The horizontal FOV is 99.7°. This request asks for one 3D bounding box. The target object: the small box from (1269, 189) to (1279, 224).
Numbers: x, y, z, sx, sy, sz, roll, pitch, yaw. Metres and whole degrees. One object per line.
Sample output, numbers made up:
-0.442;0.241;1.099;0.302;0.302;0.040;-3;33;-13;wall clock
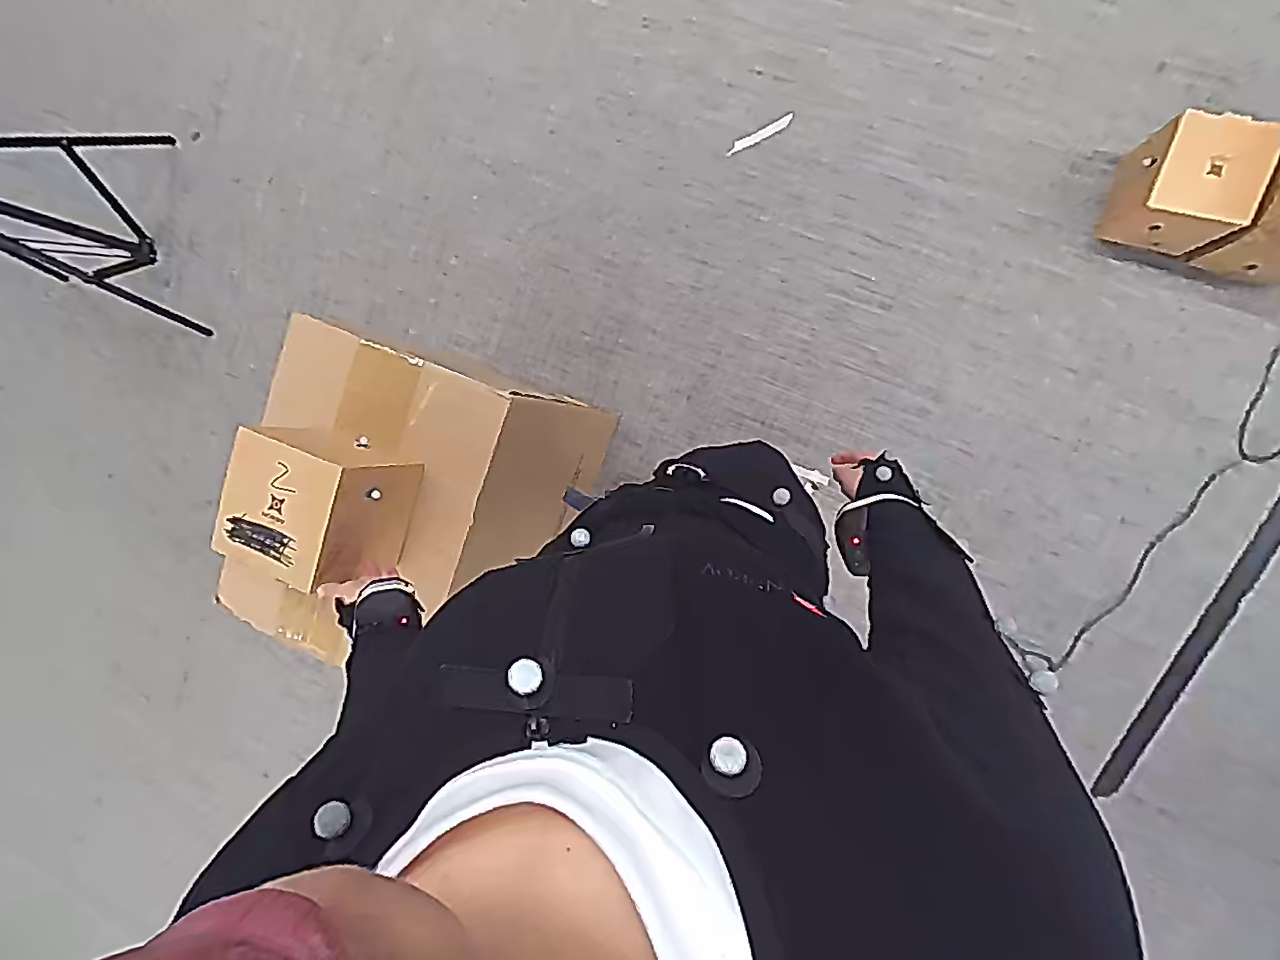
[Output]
1.164;-0.483;0.835;0.168;0.176;0.179;24;98;10;small box
